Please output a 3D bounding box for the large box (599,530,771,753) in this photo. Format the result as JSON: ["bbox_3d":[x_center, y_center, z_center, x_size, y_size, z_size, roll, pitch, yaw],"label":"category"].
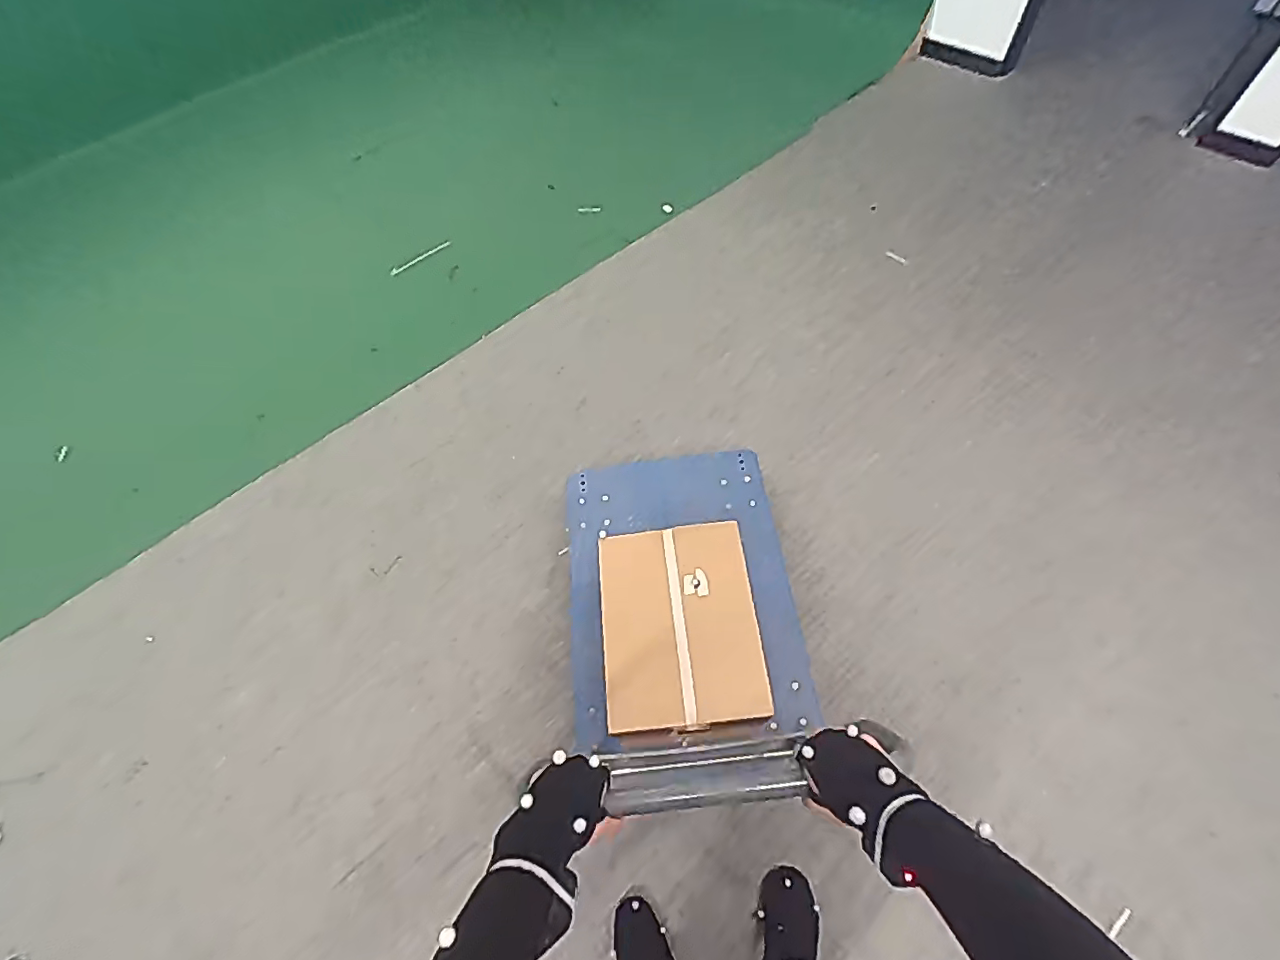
[{"bbox_3d":[0.096,0.378,1.243,0.320,0.320,0.408,-7,58,3],"label":"large box"}]
